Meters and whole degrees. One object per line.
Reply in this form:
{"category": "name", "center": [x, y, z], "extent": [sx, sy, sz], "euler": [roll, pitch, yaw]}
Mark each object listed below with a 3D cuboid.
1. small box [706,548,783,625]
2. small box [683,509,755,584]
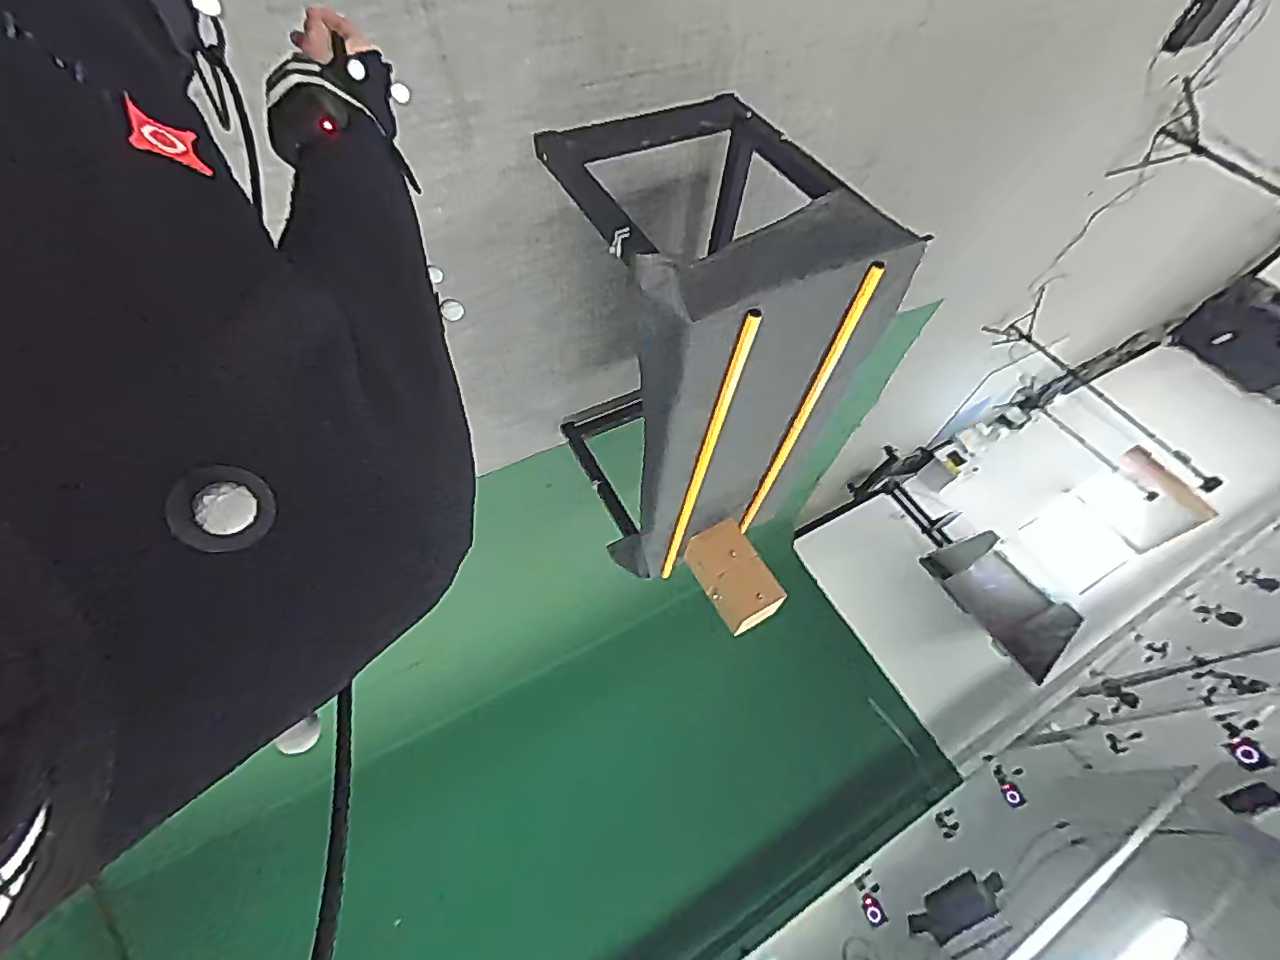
{"category": "small box", "center": [0.351, 0.359, 1.840], "extent": [0.179, 0.176, 0.168], "euler": [-24, 152, -17]}
{"category": "small box", "center": [0.270, 0.233, 1.904], "extent": [0.179, 0.176, 0.168], "euler": [-23, 153, -19]}
